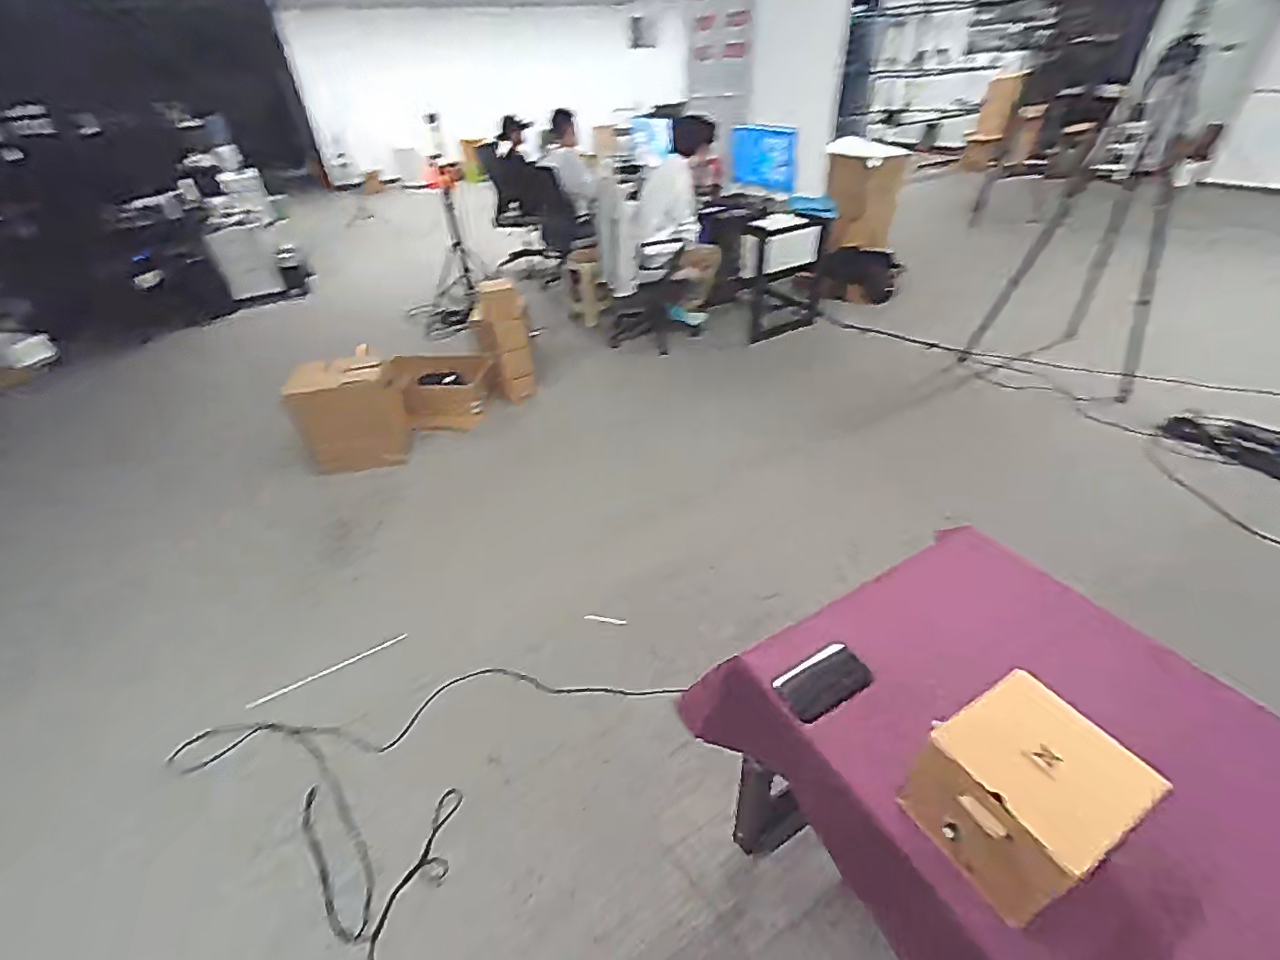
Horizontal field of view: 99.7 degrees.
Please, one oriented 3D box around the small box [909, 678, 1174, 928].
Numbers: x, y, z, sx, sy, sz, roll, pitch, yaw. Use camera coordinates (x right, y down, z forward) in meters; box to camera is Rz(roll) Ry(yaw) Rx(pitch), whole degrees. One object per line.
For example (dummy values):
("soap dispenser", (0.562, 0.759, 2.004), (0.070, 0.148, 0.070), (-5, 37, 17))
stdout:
("small box", (0.460, 0.383, 0.650), (0.179, 0.176, 0.168), (-20, 41, -21))
